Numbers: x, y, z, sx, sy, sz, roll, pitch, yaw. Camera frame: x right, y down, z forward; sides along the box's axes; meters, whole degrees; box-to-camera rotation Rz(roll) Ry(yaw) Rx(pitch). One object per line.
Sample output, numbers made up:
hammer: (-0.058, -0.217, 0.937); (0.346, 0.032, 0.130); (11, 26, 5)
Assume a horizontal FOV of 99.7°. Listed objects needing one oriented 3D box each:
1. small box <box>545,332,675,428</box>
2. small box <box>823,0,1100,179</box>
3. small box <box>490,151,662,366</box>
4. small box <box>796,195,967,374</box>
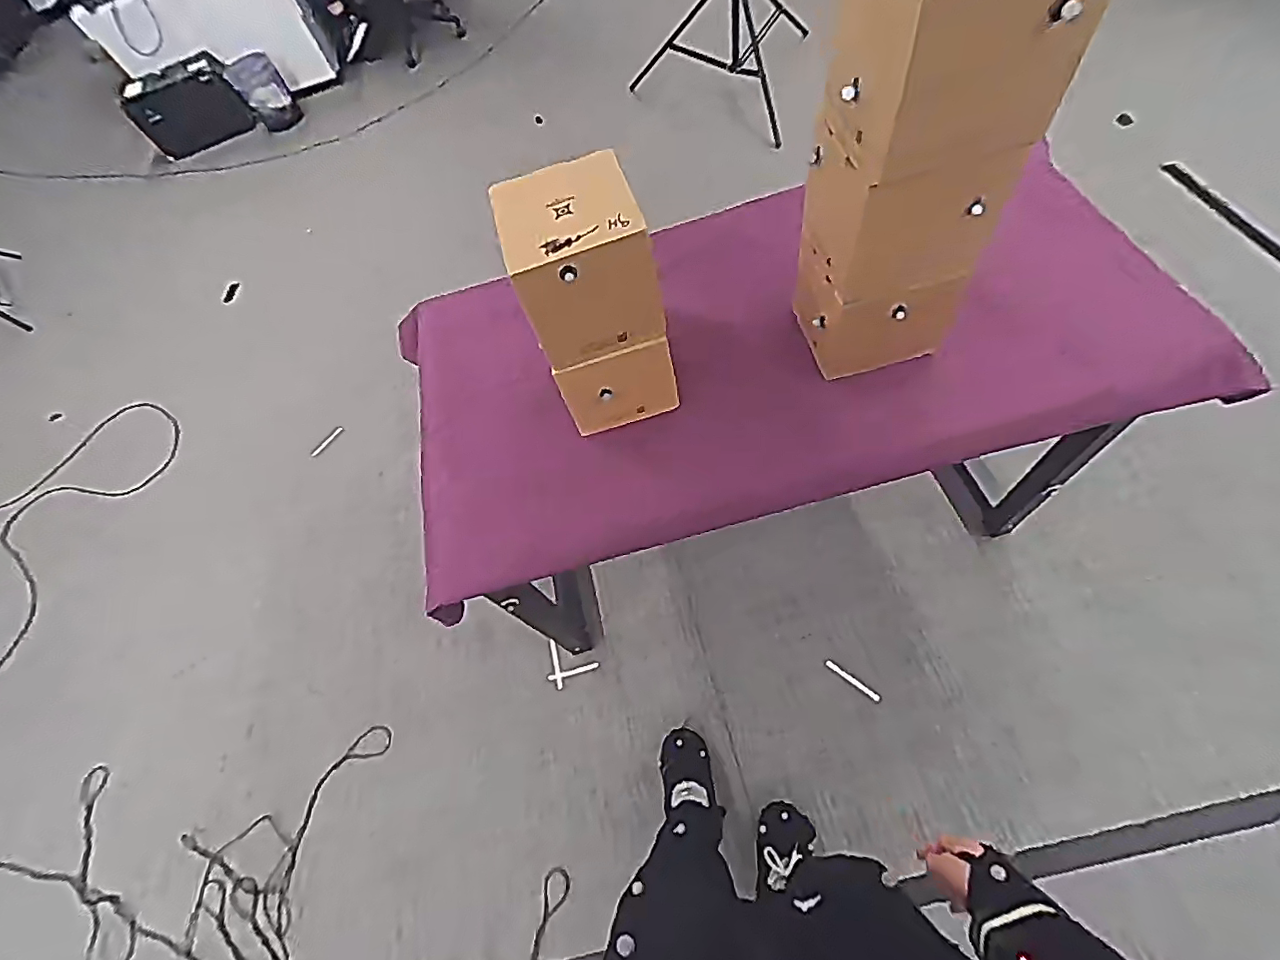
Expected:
small box: (-0.050, -0.201, 0.848); (0.168, 0.176, 0.179); (-17, 60, 2)
small box: (0.299, -0.435, 0.526); (0.179, 0.176, 0.168); (-15, 61, 3)
small box: (-0.079, -0.283, 0.709); (0.168, 0.176, 0.179); (-19, 59, 1)
small box: (0.344, -0.284, 0.816); (0.179, 0.176, 0.168); (-14, 62, 2)
